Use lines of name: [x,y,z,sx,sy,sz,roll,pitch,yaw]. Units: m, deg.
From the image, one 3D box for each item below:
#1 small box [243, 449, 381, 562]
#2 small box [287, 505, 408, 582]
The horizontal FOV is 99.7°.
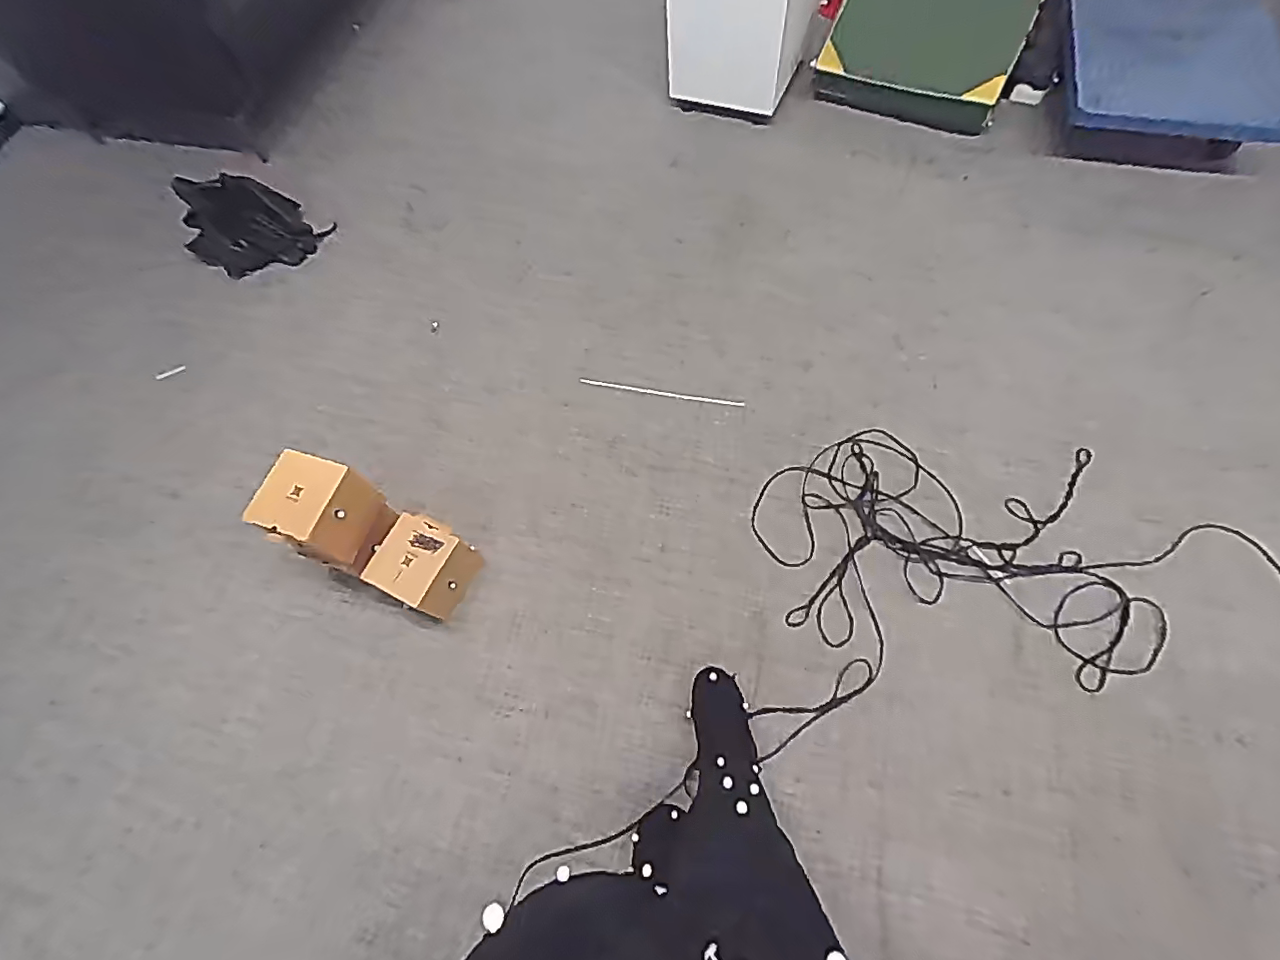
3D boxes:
small box: [-0.709,0.061,1.197,0.168,0.176,0.179,15,68,11]
small box: [-0.712,0.138,1.342,0.168,0.176,0.179,15,68,11]
